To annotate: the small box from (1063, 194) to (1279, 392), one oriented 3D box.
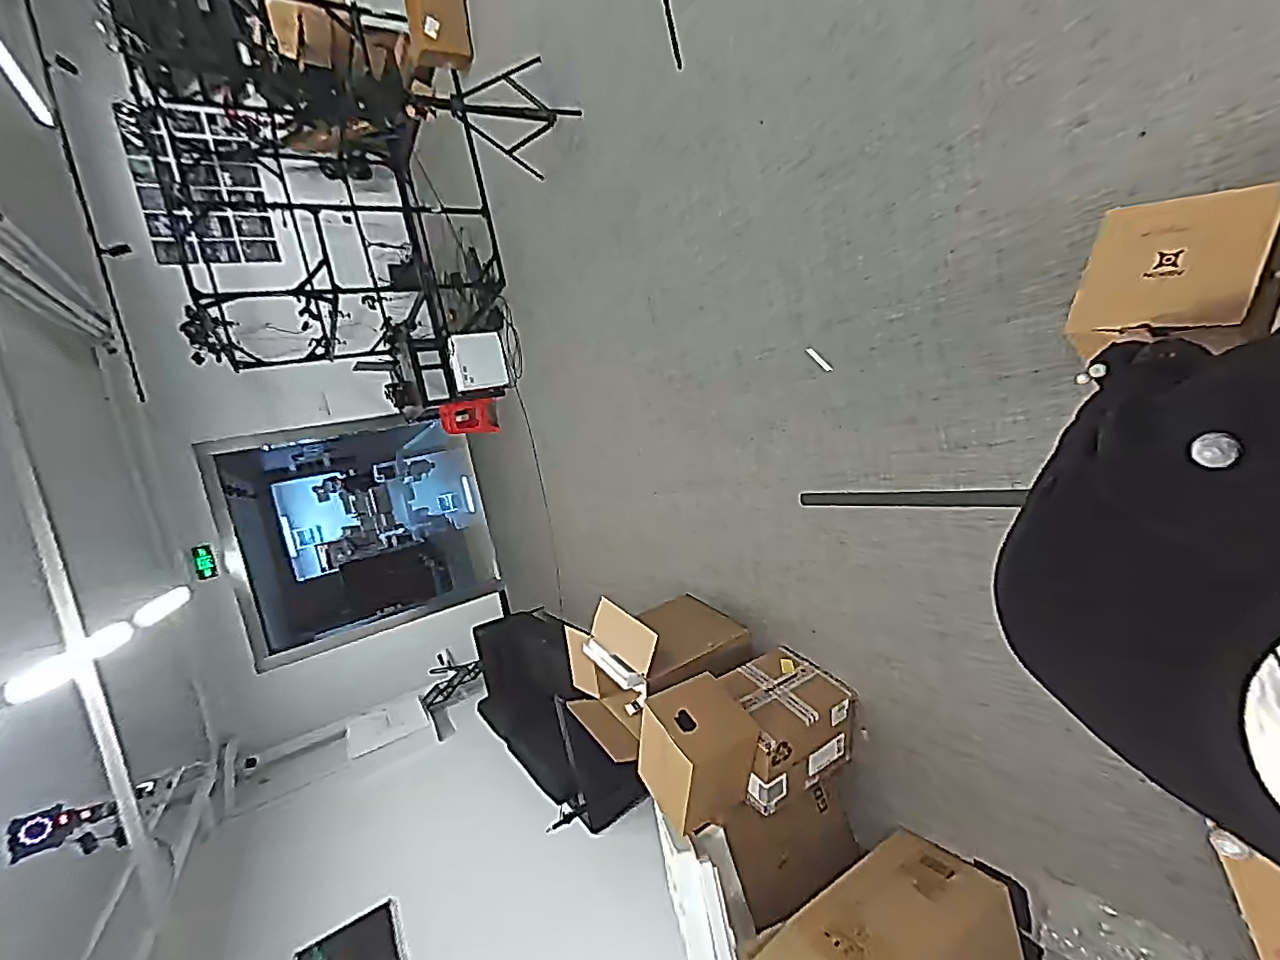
[{"bbox_3d":[0.701,-0.230,0.708,0.168,0.176,0.179,21,87,52],"label":"small box"}]
